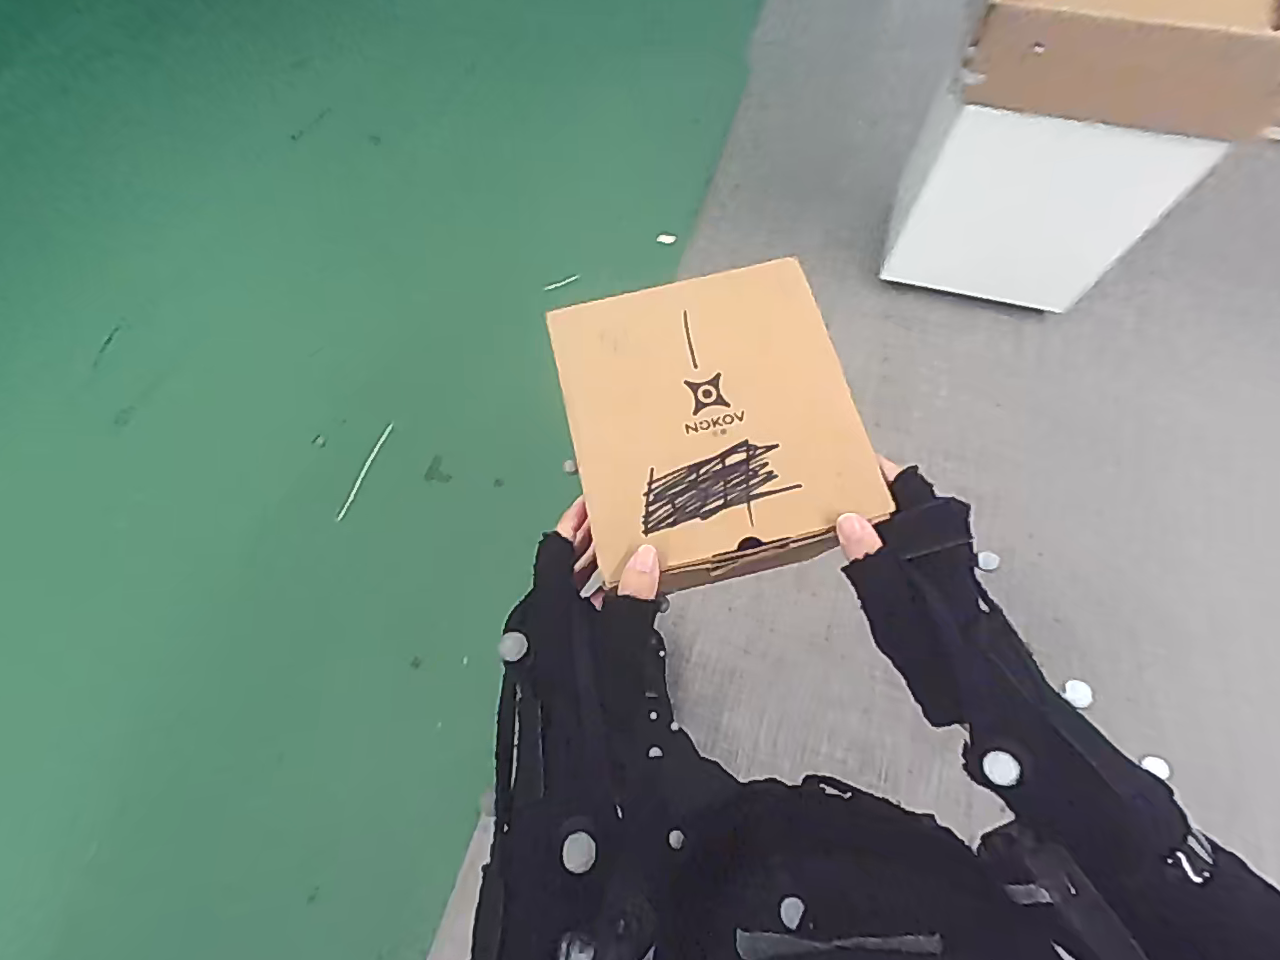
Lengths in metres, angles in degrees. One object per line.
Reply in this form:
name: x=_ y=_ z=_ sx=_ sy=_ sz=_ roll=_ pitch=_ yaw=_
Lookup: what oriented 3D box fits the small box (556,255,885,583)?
small box: x=0.046 y=-0.025 z=0.400 sx=0.168 sy=0.176 sz=0.179 roll=-12 pitch=73 yaw=-1
